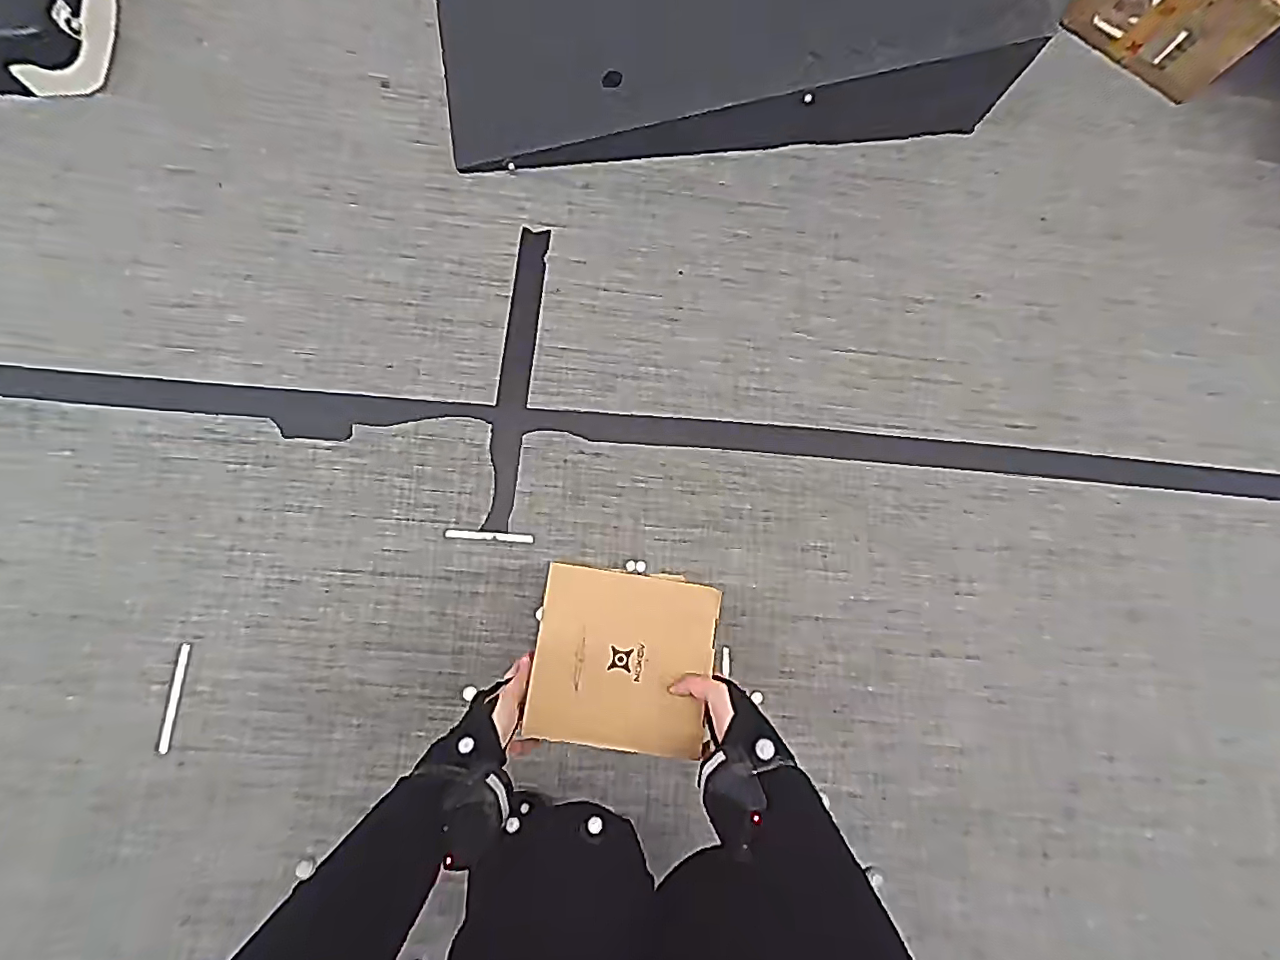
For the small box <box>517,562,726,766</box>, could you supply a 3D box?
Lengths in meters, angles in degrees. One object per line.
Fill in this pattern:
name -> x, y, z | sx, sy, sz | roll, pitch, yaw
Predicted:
small box -> -0.020, 0.185, 0.589 | 0.179, 0.176, 0.168 | 10, 80, -2
